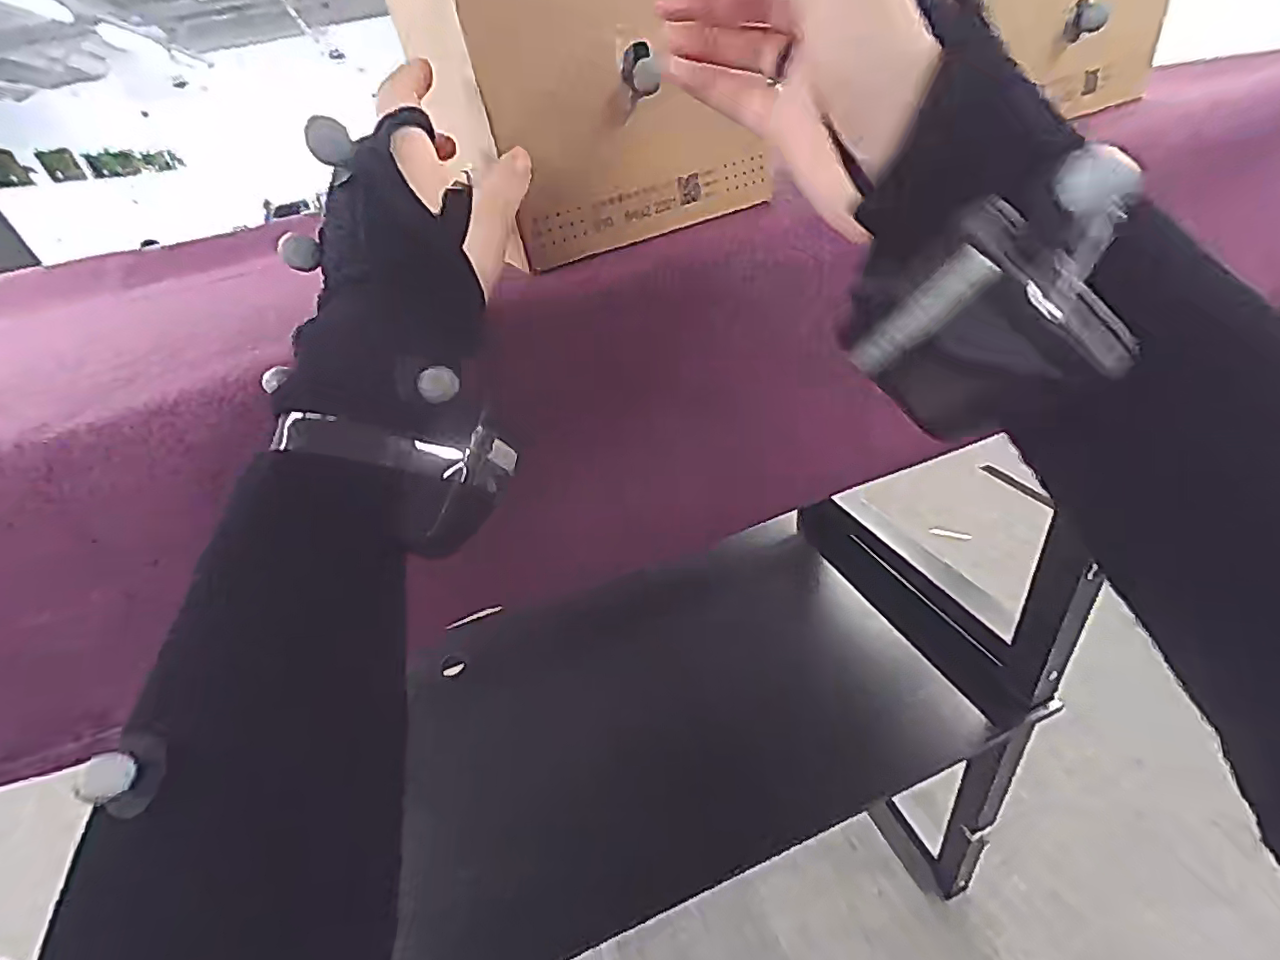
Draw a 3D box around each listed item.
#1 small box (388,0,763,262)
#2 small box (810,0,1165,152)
[{"bbox_3d":[-0.038,-0.247,0.336,0.168,0.176,0.179,-24,36,-17],"label":"small box"},{"bbox_3d":[0.237,-0.349,0.391,0.168,0.176,0.179,-22,35,-12],"label":"small box"}]
